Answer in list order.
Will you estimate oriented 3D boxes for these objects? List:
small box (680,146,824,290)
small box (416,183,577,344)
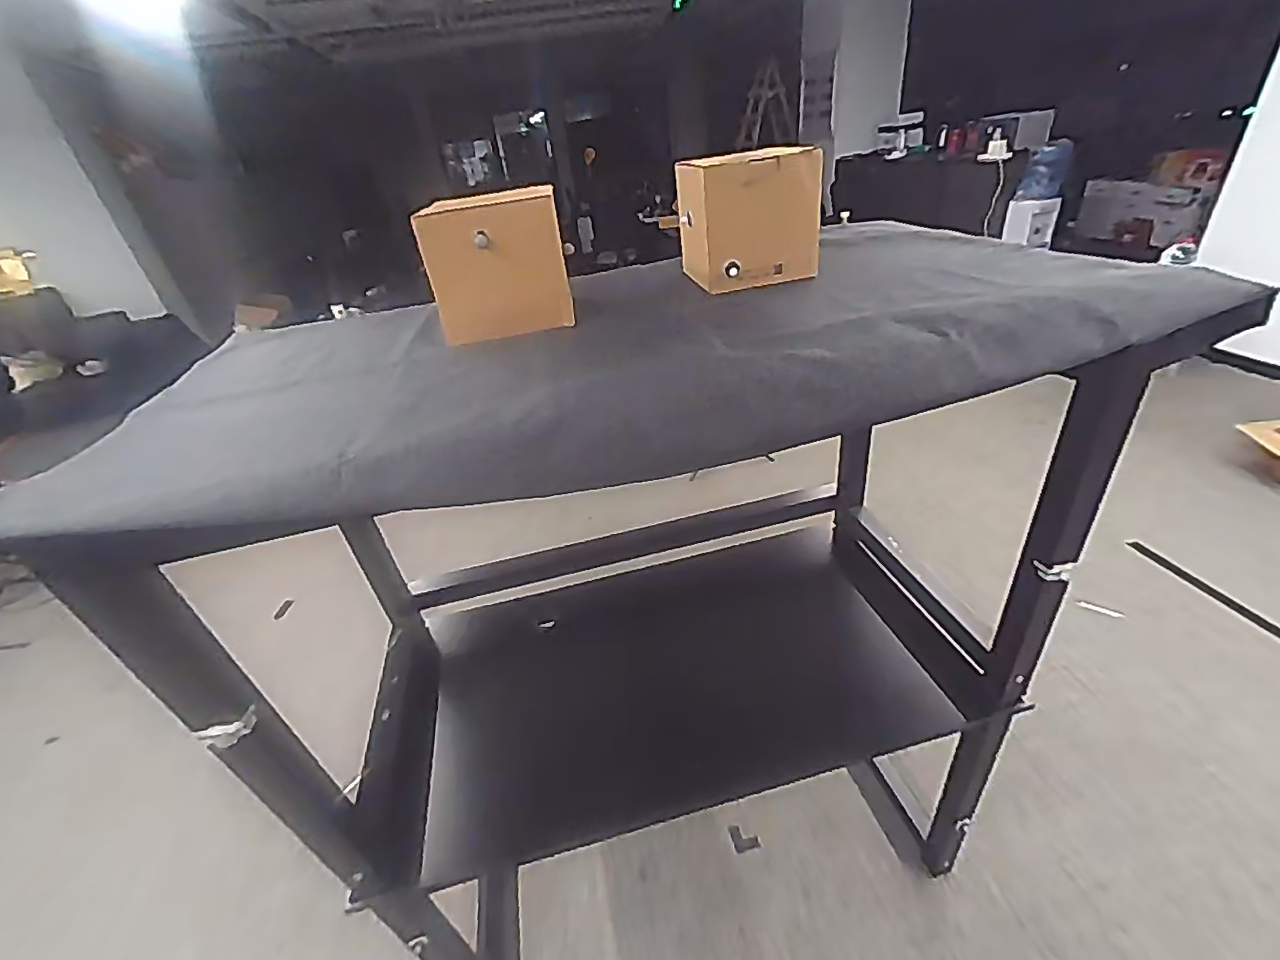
[{"bbox_3d":[0.165,-0.396,0.822,0.168,0.176,0.179,-11,32,-4],"label":"small box"},{"bbox_3d":[-0.186,-0.308,0.767,0.179,0.176,0.168,-10,33,-2],"label":"small box"}]
